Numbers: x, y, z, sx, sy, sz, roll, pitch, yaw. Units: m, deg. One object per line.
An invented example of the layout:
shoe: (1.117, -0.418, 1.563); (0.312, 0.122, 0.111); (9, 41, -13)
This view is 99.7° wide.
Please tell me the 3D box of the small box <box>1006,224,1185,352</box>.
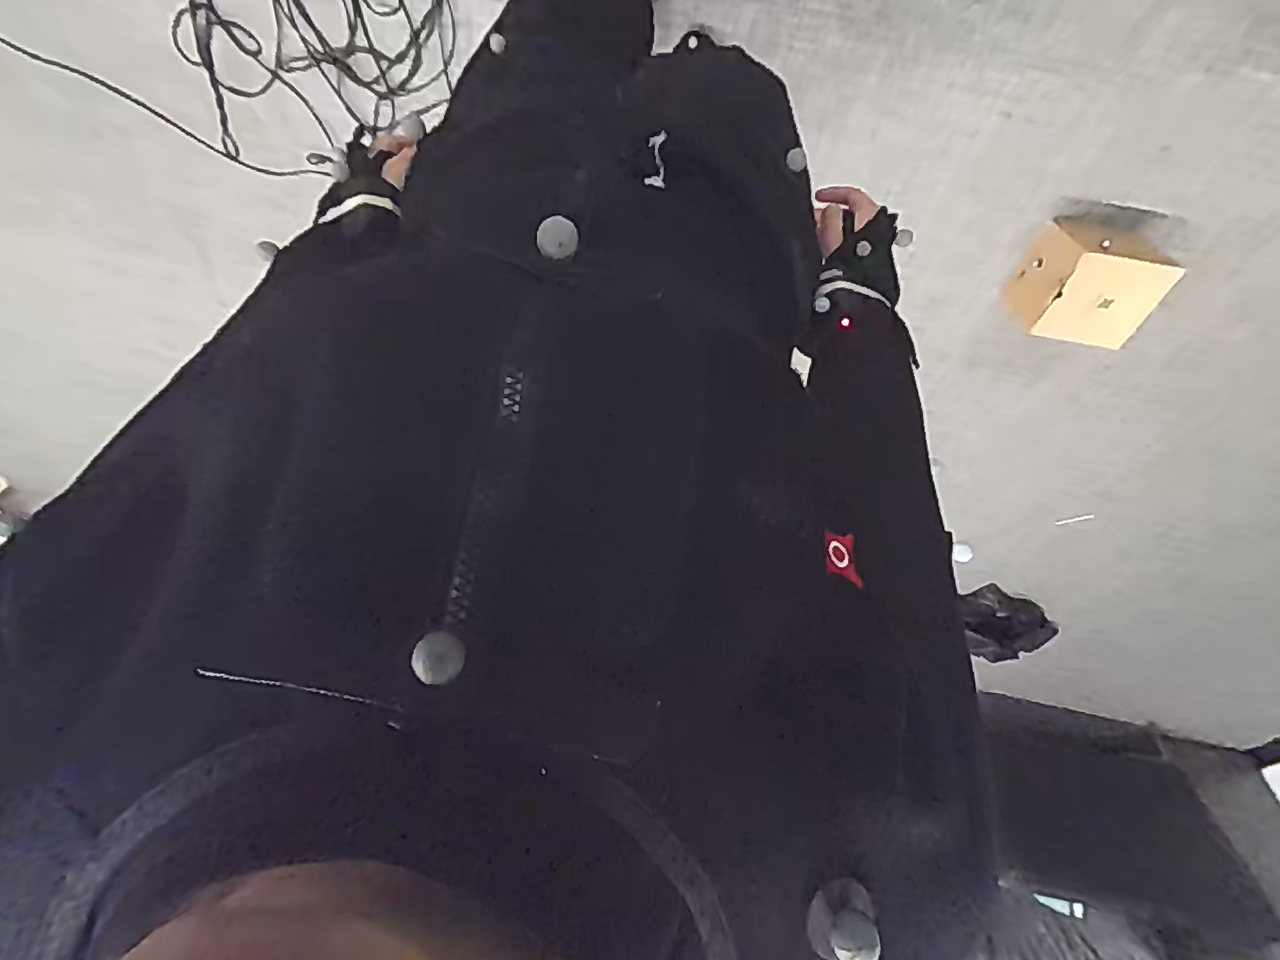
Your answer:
small box: (0.862, -0.374, 1.047); (0.179, 0.176, 0.168); (11, 135, 2)
